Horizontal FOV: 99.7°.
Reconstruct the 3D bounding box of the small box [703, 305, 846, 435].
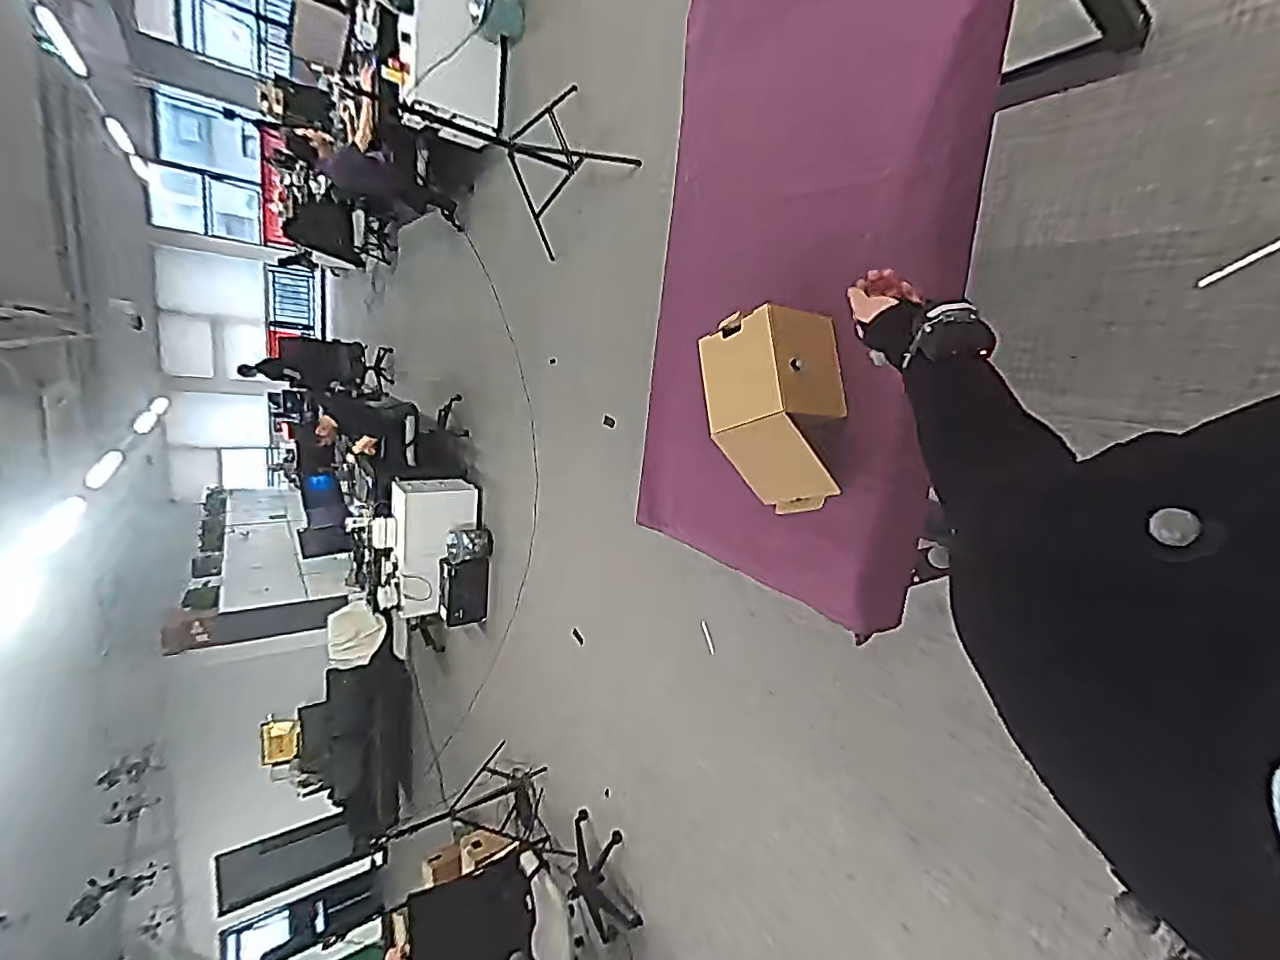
[{"bbox_3d":[0.234,-0.178,0.936,0.168,0.176,0.179,-15,79,54],"label":"small box"}]
